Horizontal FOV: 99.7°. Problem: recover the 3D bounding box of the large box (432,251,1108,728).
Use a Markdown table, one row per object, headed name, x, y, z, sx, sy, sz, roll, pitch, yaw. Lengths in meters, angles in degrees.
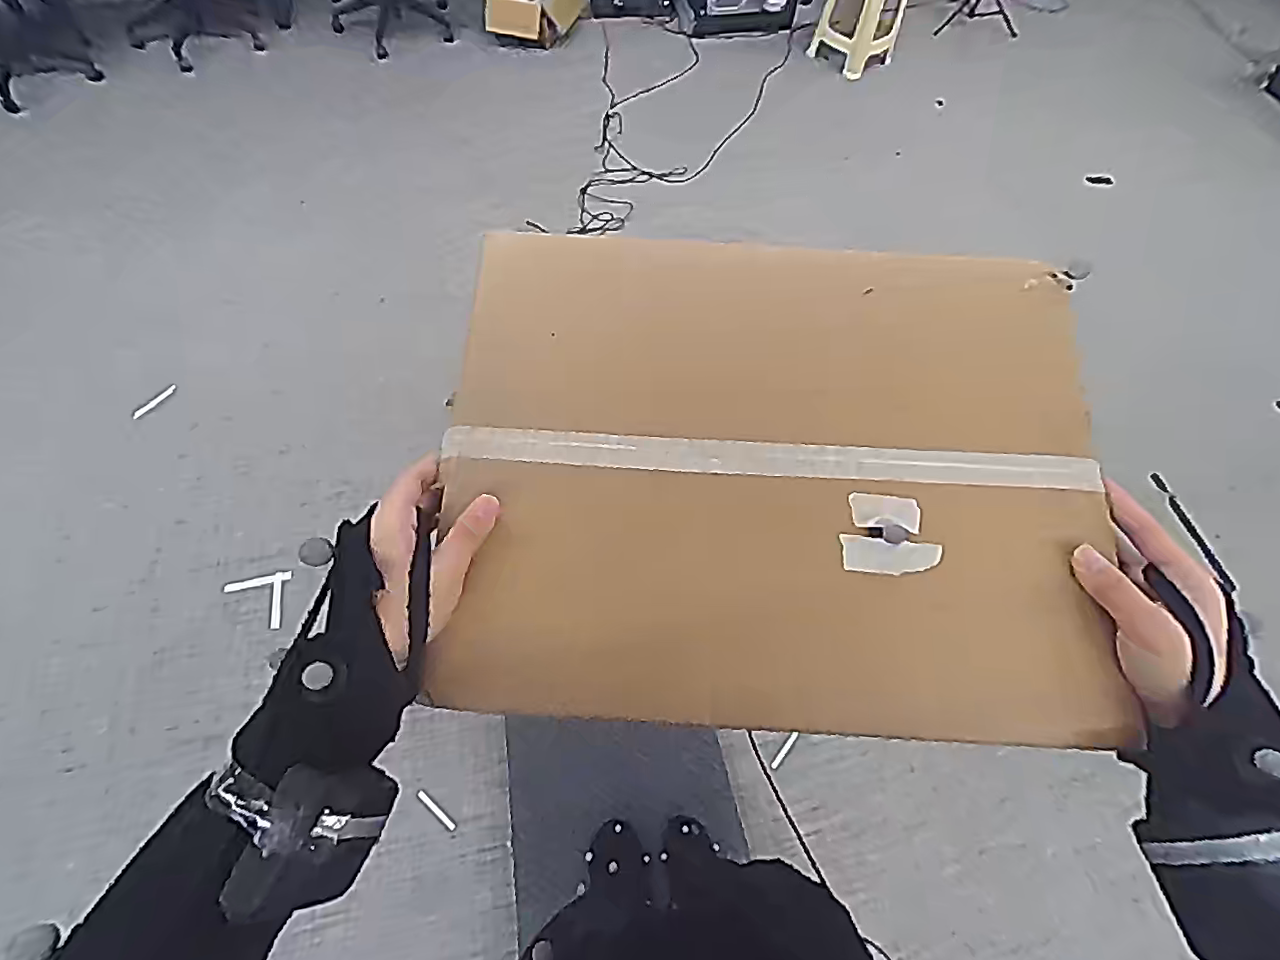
| name | x | y | z | sx | sy | sz | roll | pitch | yaw |
| --- | --- | --- | --- | --- | --- | --- | --- | --- | --- |
| large box | 0.078 | 0.028 | 0.494 | 0.408 | 0.320 | 0.320 | 3 | 76 | 0 |
